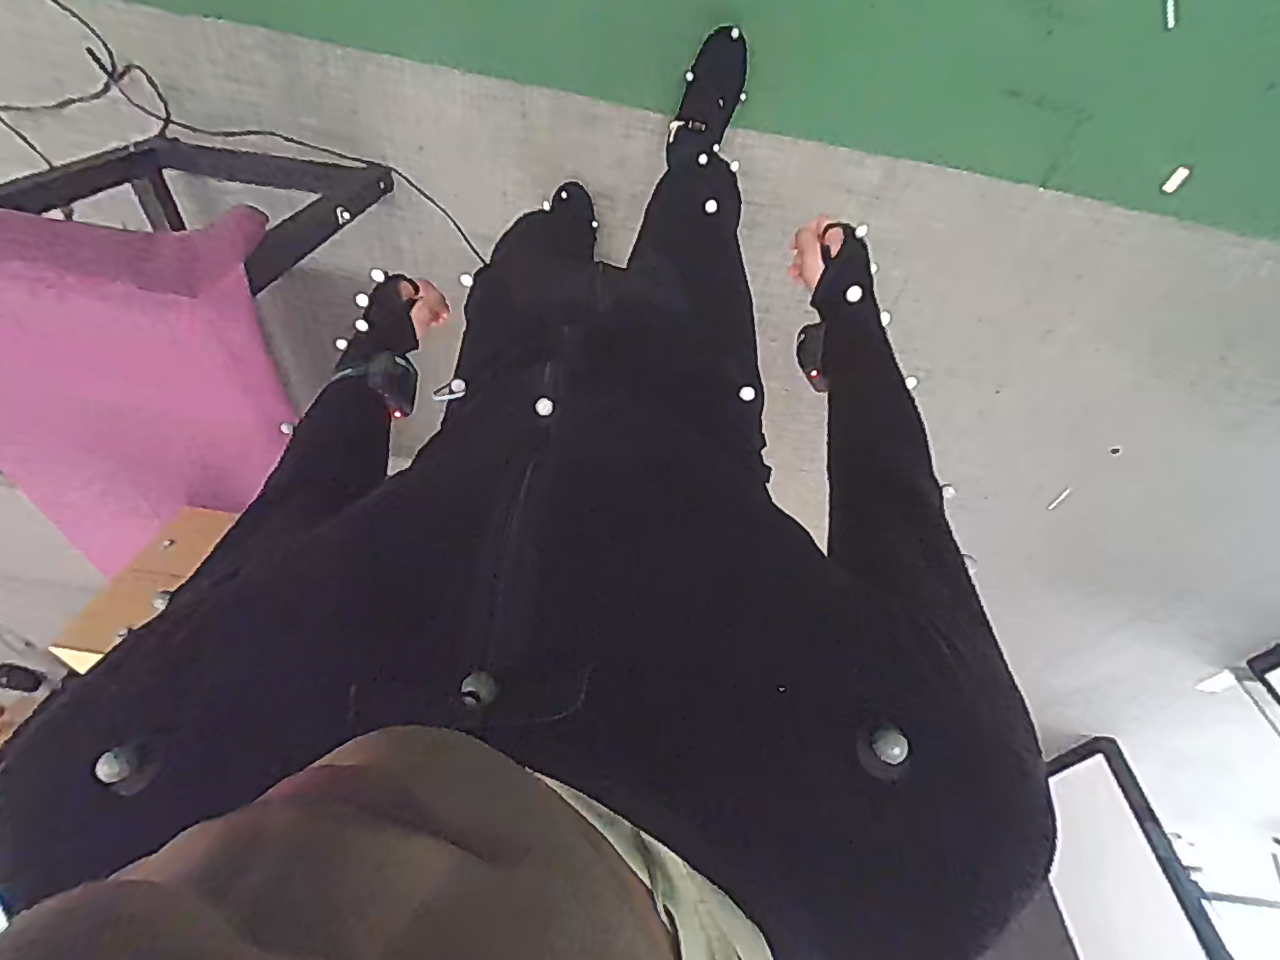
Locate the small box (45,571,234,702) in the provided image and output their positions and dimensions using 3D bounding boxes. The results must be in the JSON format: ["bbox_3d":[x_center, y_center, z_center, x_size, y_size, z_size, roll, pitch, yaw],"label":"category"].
[{"bbox_3d":[-0.912,0.291,1.015,0.179,0.176,0.168,10,134,-1],"label":"small box"}]
